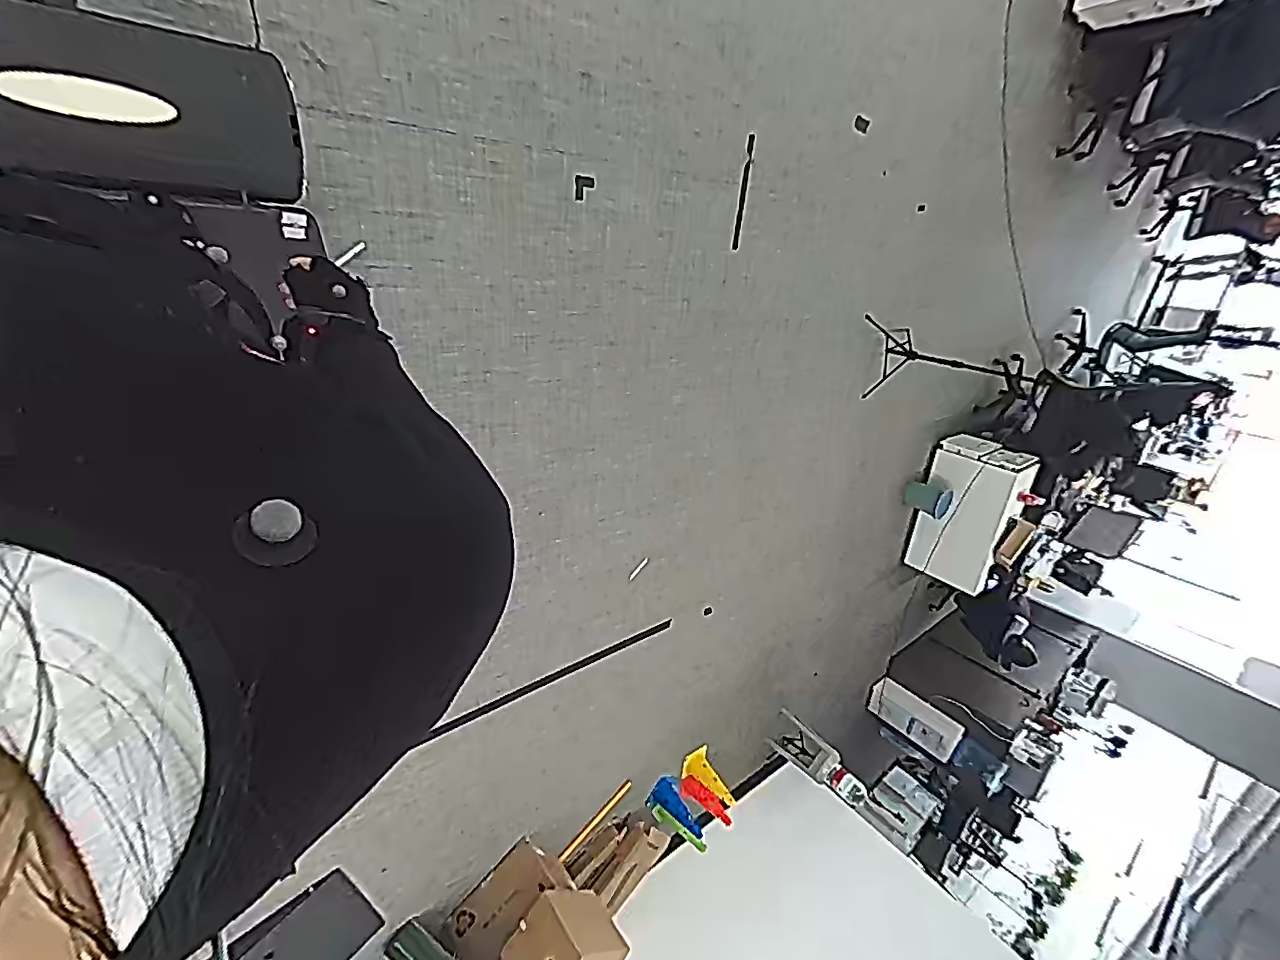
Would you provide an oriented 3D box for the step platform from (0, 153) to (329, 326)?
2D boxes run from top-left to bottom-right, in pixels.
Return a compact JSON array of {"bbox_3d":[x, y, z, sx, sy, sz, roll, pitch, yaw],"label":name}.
[{"bbox_3d":[-1.010,-0.463,1.072,0.684,0.204,0.286,-14,119,-35],"label":"step platform"}]
